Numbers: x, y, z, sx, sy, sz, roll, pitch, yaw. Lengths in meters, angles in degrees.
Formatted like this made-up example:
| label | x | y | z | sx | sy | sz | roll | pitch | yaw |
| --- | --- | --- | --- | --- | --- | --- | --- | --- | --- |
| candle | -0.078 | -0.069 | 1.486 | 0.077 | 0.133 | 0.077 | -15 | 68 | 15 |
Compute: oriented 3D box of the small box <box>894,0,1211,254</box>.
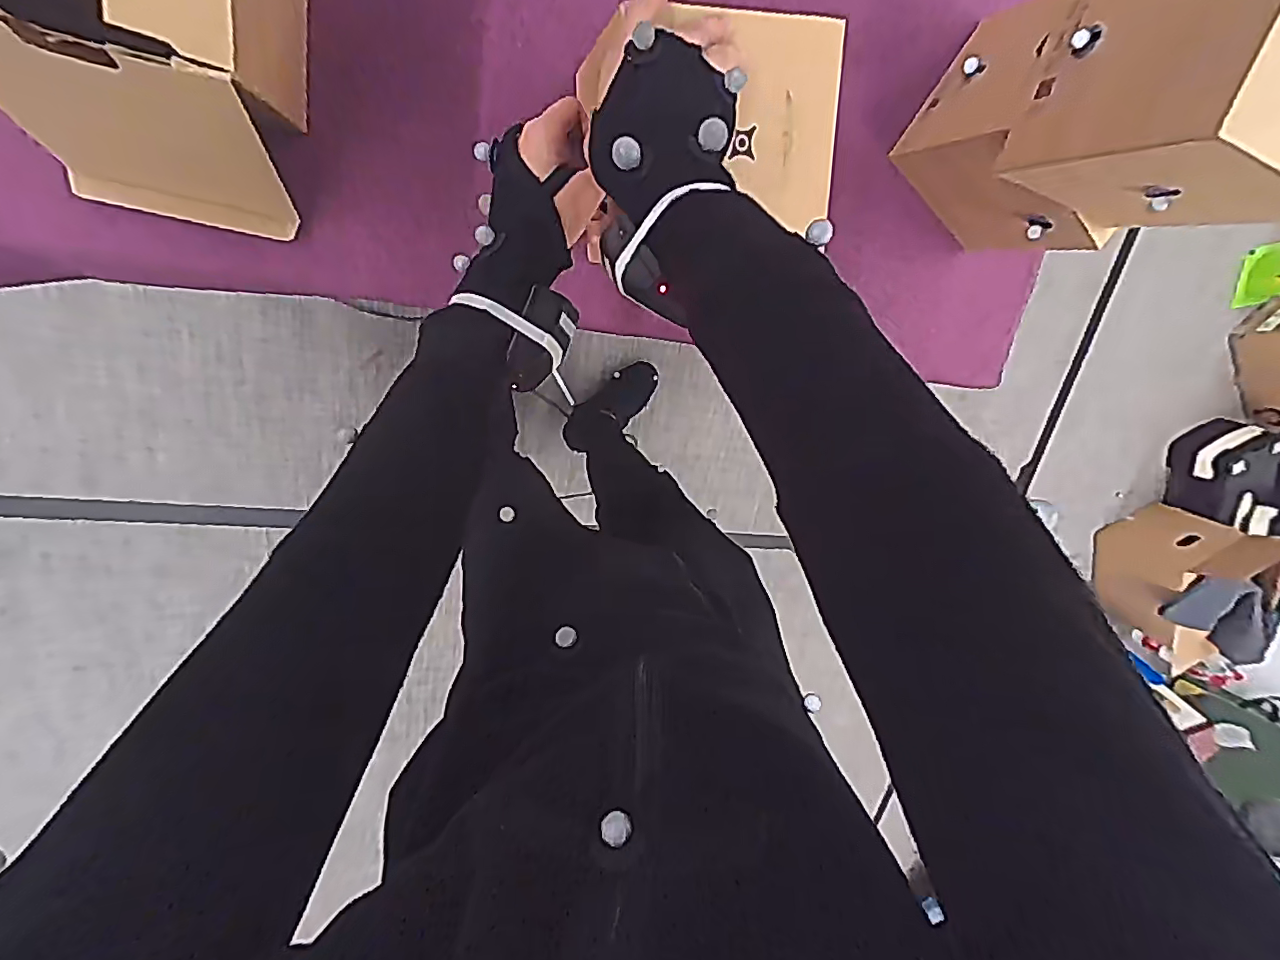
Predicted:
| label | x | y | z | sx | sy | sz | roll | pitch | yaw |
| --- | --- | --- | --- | --- | --- | --- | --- | --- | --- |
| small box | 0.416 | -0.363 | 0.567 | 0.179 | 0.176 | 0.168 | 31 | 100 | -26 |

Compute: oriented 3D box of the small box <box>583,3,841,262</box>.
| label | x | y | z | sx | sy | sz | roll | pitch | yaw |
| --- | --- | --- | --- | --- | --- | --- | --- | --- | --- |
| small box | 0.047 | -0.286 | 0.486 | 0.179 | 0.176 | 0.168 | -8 | 115 | -15 |
